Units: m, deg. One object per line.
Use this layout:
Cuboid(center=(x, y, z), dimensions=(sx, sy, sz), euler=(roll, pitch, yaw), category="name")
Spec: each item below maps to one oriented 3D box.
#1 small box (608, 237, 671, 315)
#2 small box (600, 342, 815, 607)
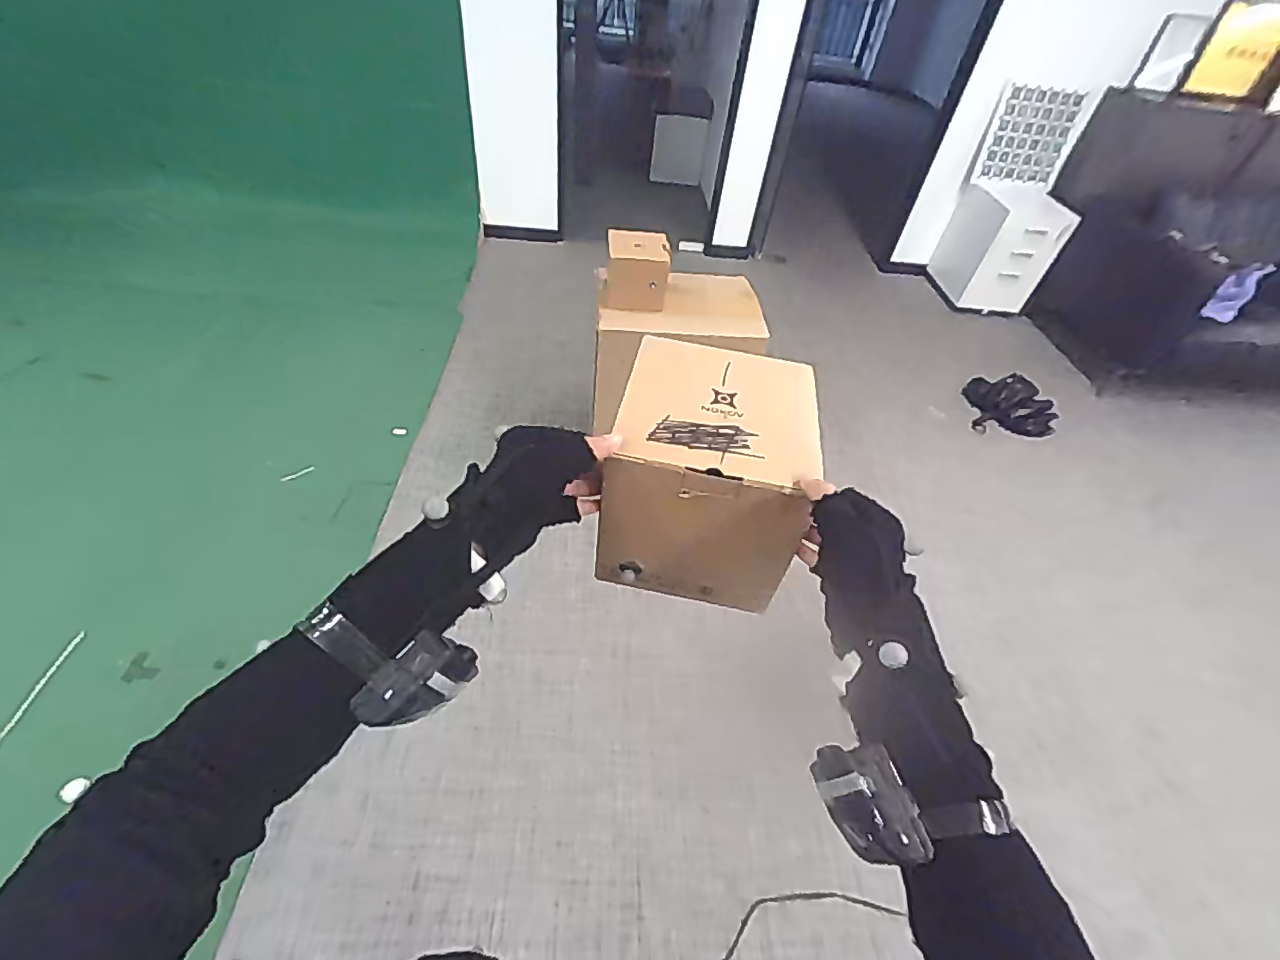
Cuboid(center=(-0.007, -0.622, 1.658), dimensions=(0.179, 0.176, 0.168), euler=(0, 50, -6), category="small box")
Cuboid(center=(0.059, -0.004, 0.518), dimensions=(0.168, 0.176, 0.179), euler=(11, 44, 3), category="small box")
